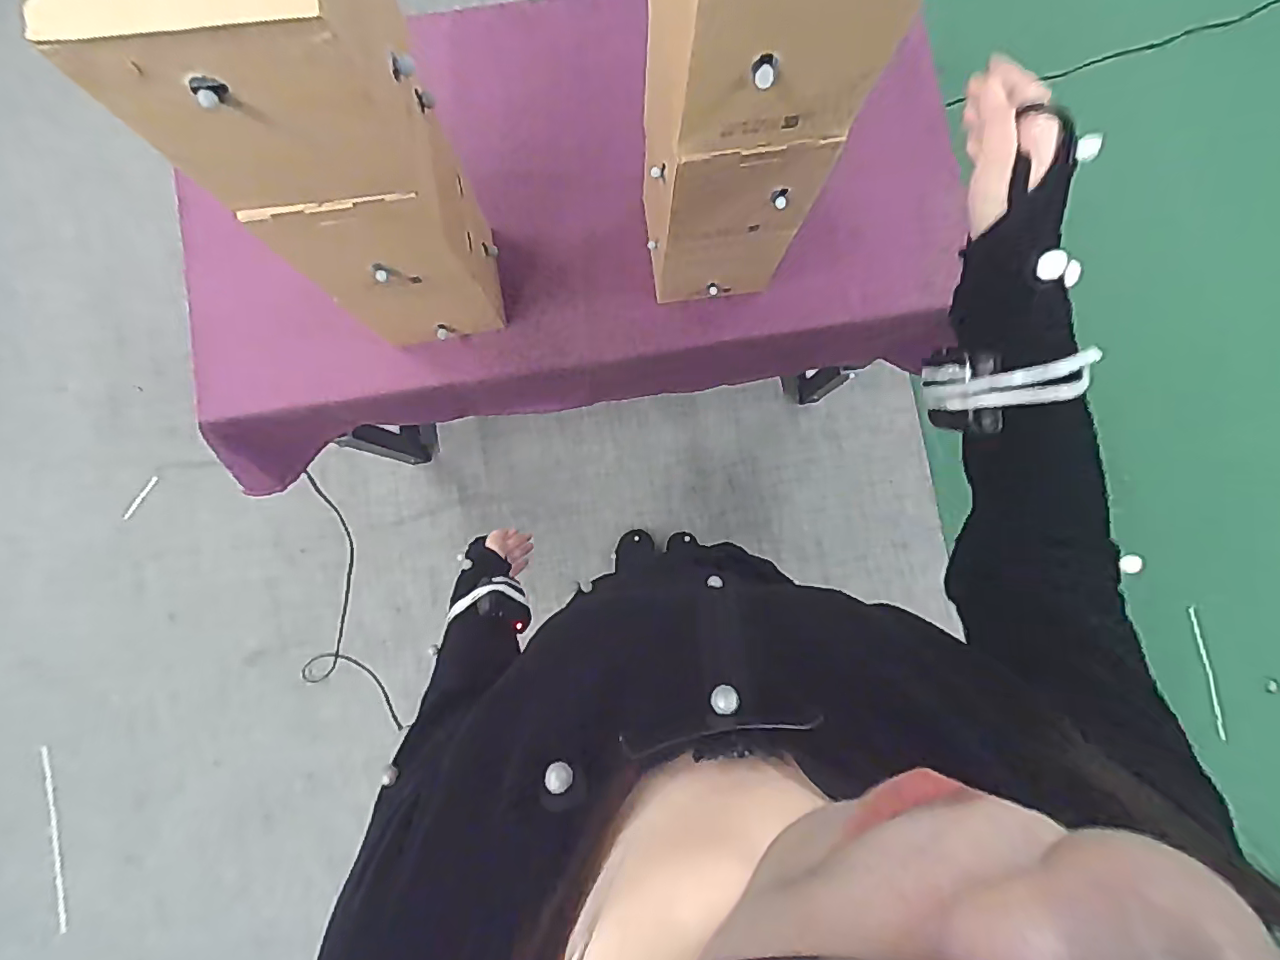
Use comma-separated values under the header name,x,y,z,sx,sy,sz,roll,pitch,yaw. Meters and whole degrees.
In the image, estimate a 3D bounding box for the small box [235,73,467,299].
name,x,y,z,sx,sy,sz,roll,pitch,yaw
small box,-0.299,-0.321,0.580,0.168,0.176,0.179,-9,85,-1

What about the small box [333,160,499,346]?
name,x,y,z,sx,sy,sz,roll,pitch,yaw
small box,-0.302,-0.300,0.745,0.179,0.176,0.168,-11,84,-3

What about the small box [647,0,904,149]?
name,x,y,z,sx,sy,sz,roll,pitch,yaw
small box,0.099,-0.398,0.434,0.168,0.176,0.179,-9,85,-2

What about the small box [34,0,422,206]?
name,x,y,z,sx,sy,sz,roll,pitch,yaw
small box,-0.291,-0.338,0.417,0.179,0.176,0.168,-7,85,-3

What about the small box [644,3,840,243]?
name,x,y,z,sx,sy,sz,roll,pitch,yaw
small box,0.097,-0.383,0.595,0.168,0.176,0.179,-9,85,-2
